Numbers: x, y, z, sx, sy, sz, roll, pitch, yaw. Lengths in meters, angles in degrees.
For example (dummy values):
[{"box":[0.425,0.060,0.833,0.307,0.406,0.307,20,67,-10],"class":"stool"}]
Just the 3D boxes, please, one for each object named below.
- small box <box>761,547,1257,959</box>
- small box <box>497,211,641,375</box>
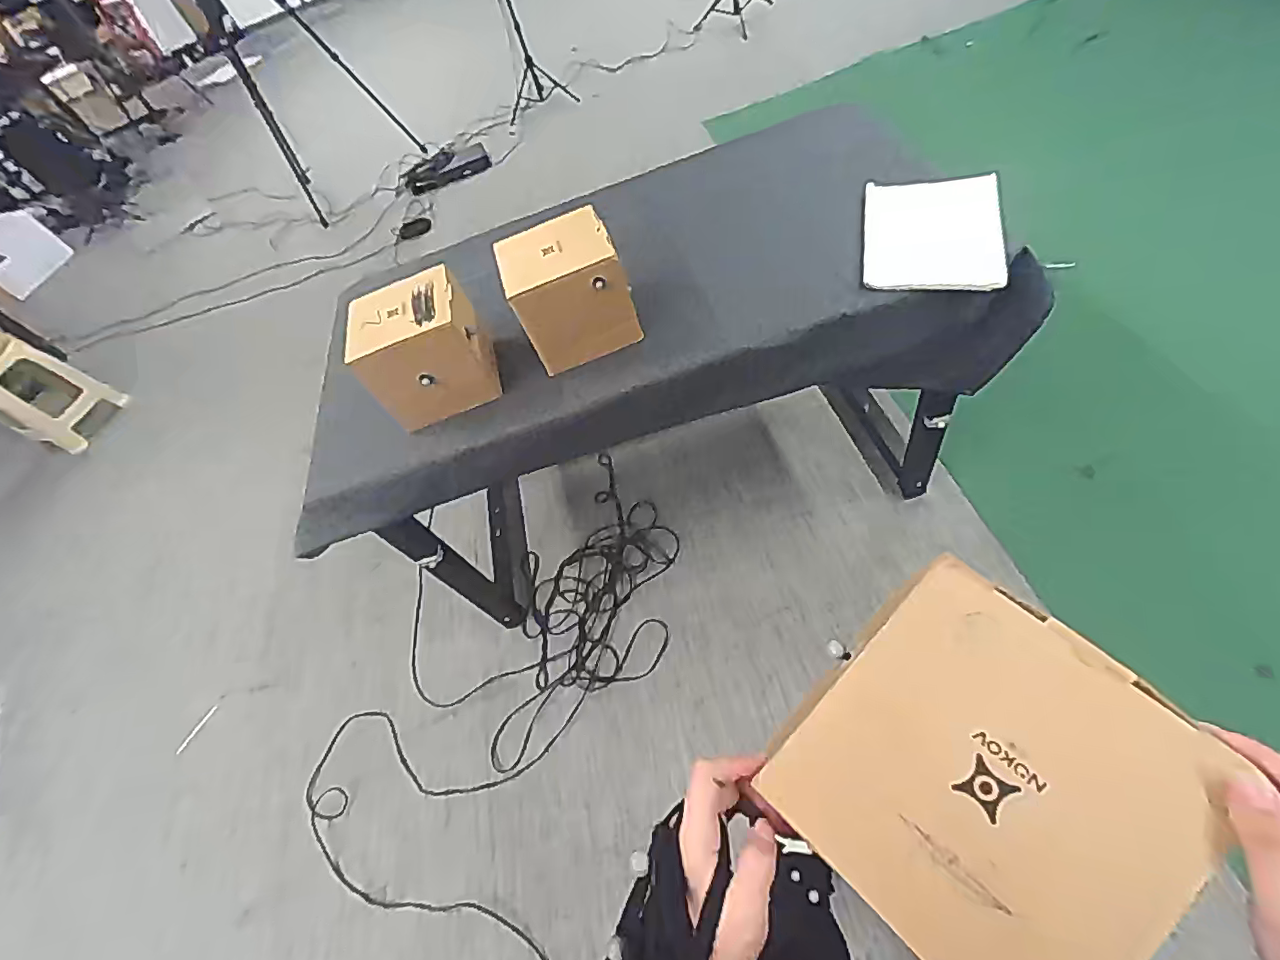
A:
[{"box":[0.198,0.174,0.350,0.168,0.176,0.179,39,85,25],"class":"small box"},{"box":[-0.115,-0.305,0.902,0.179,0.176,0.168,-22,53,1],"class":"small box"}]
